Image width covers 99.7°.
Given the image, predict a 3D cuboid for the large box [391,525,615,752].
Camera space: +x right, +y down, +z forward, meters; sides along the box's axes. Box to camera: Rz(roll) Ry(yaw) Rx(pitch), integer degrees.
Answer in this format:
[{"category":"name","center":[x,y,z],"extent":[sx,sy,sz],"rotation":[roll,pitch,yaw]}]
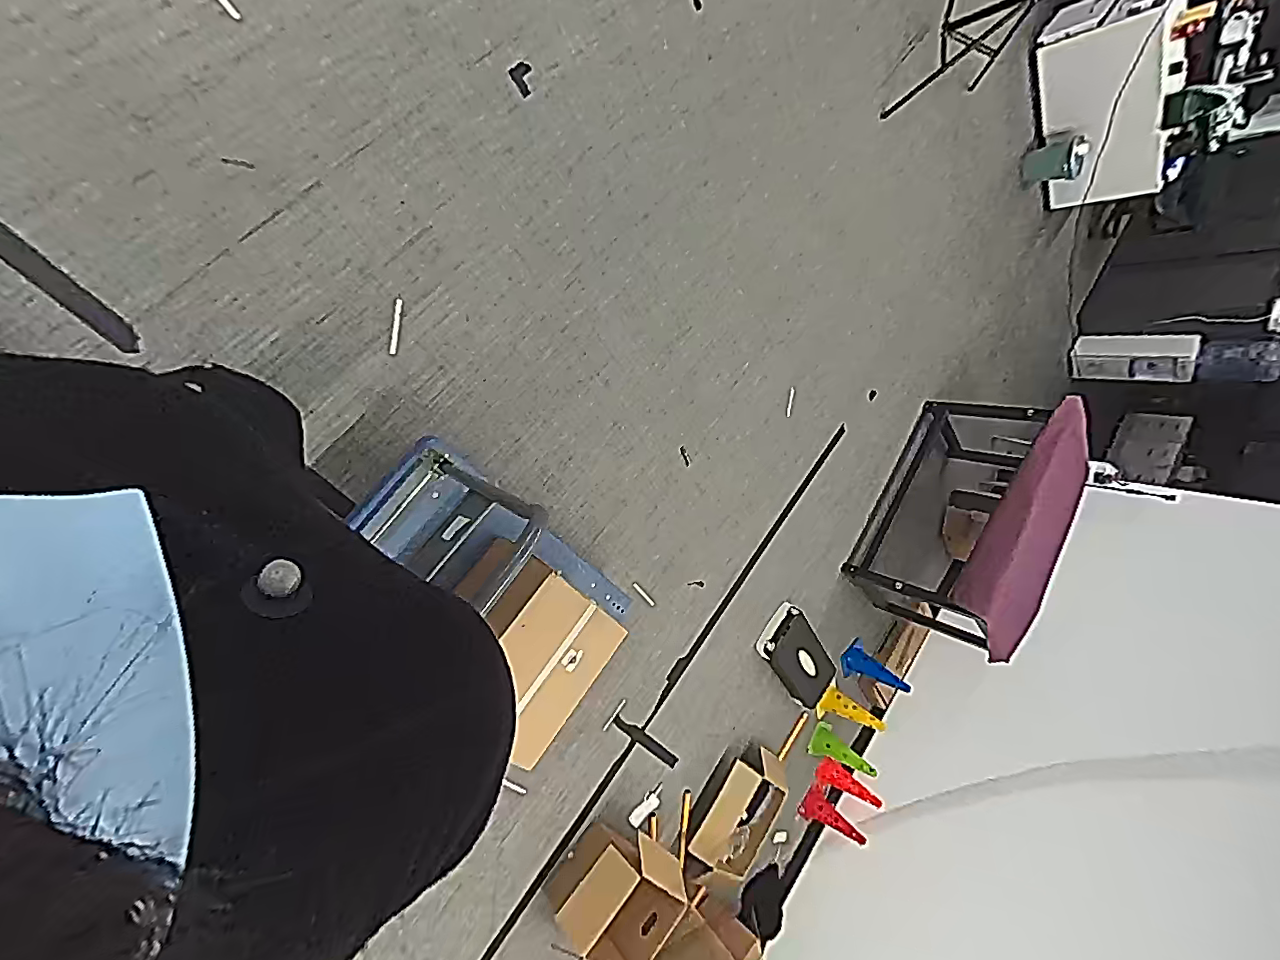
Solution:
[{"category":"large box","center":[-0.348,0.388,1.383],"extent":[0.408,0.320,0.320],"rotation":[-54,128,-16]}]
